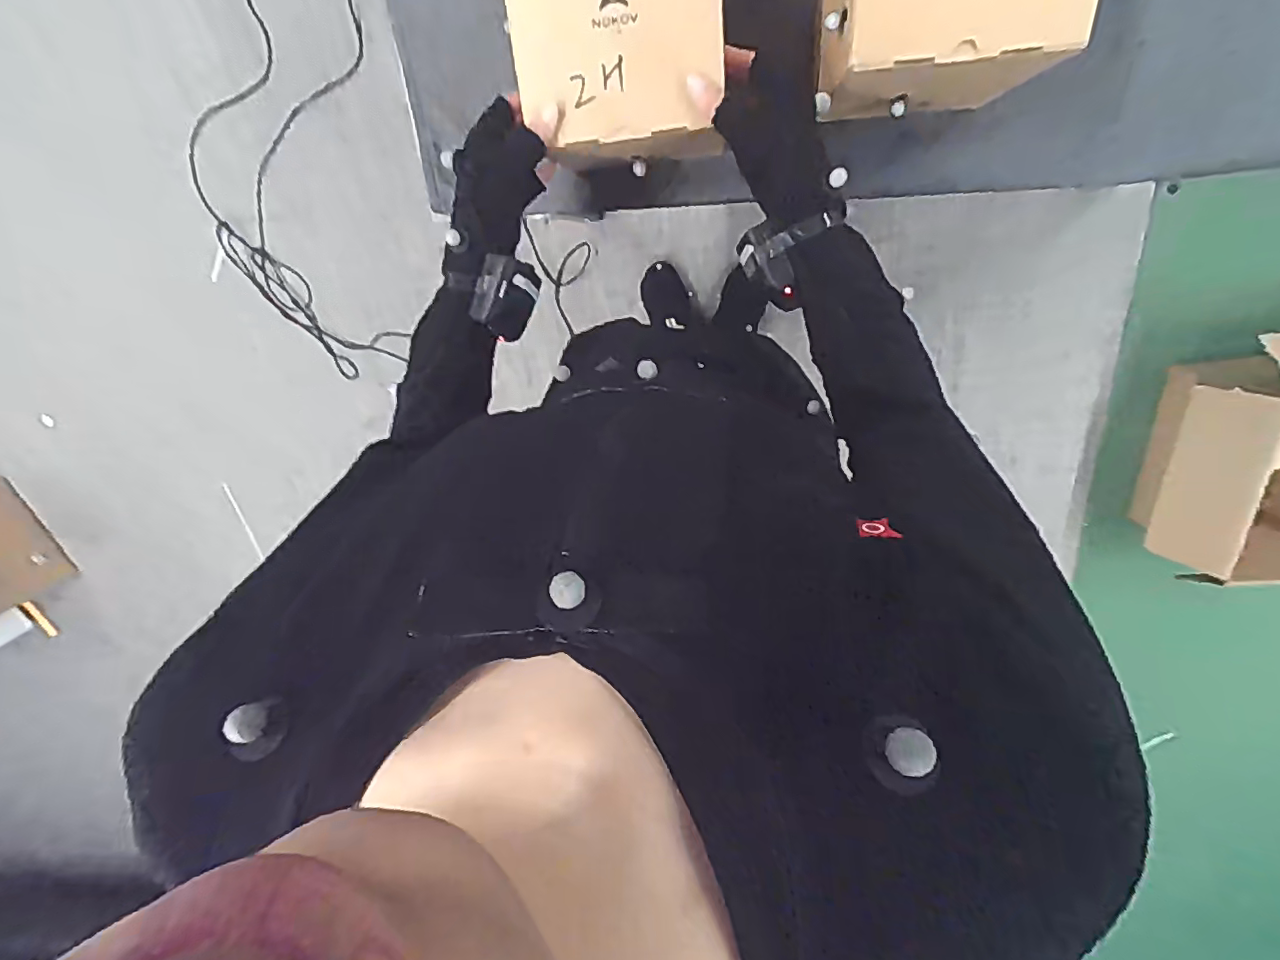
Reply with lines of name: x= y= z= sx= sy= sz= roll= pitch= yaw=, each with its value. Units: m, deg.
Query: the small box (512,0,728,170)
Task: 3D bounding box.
small box: x=-0.009 y=-0.395 z=0.485 sx=0.168 sy=0.176 sz=0.179 roll=-2 pitch=114 yaw=9
